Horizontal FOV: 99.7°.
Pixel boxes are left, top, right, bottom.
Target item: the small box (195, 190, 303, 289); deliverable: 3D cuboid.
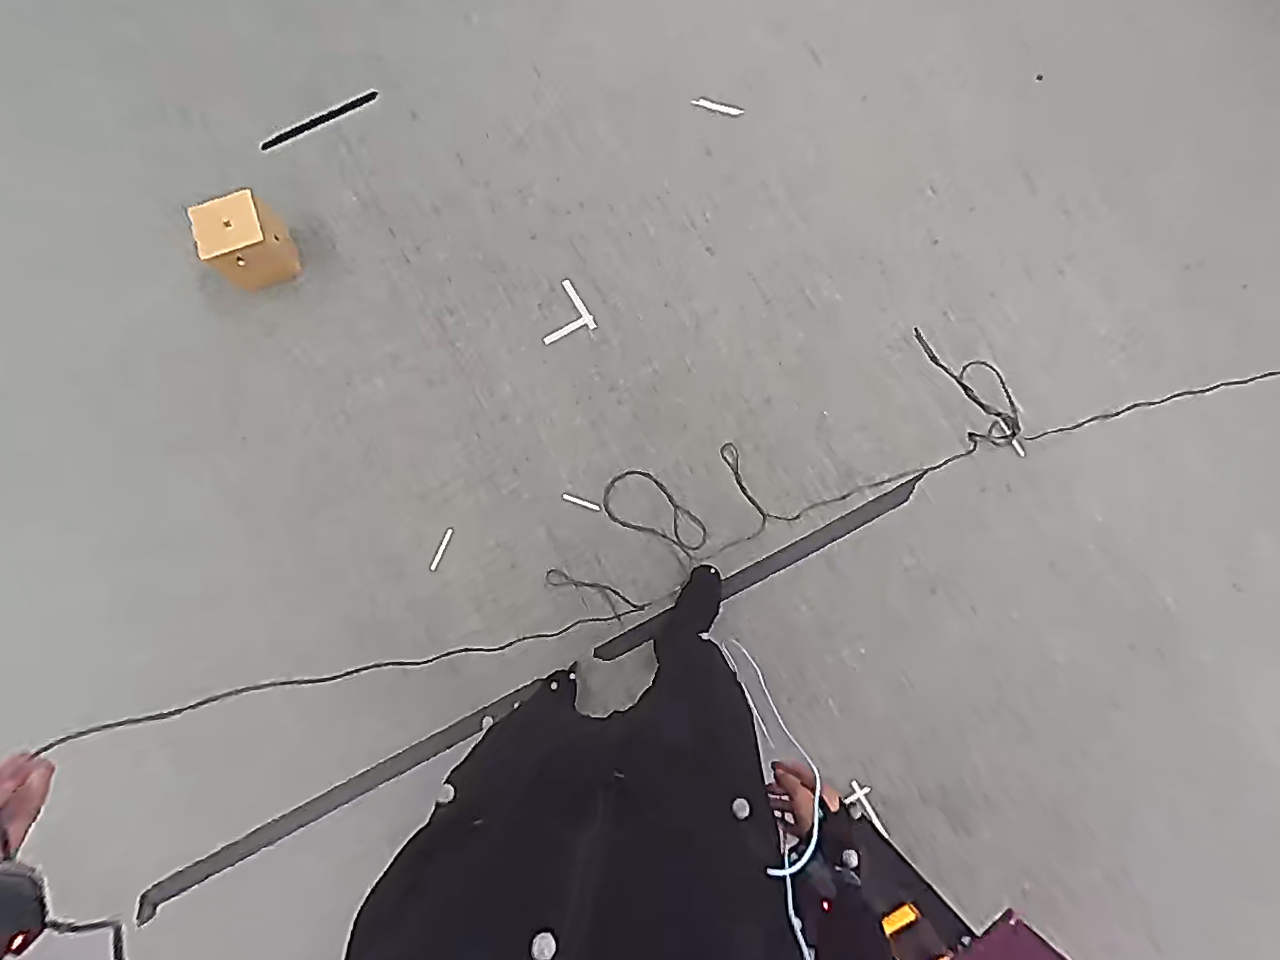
[{"bbox_3d":[-1.096,-0.674,1.534,0.179,0.176,0.168,-21,82,-2],"label":"small box"}]
